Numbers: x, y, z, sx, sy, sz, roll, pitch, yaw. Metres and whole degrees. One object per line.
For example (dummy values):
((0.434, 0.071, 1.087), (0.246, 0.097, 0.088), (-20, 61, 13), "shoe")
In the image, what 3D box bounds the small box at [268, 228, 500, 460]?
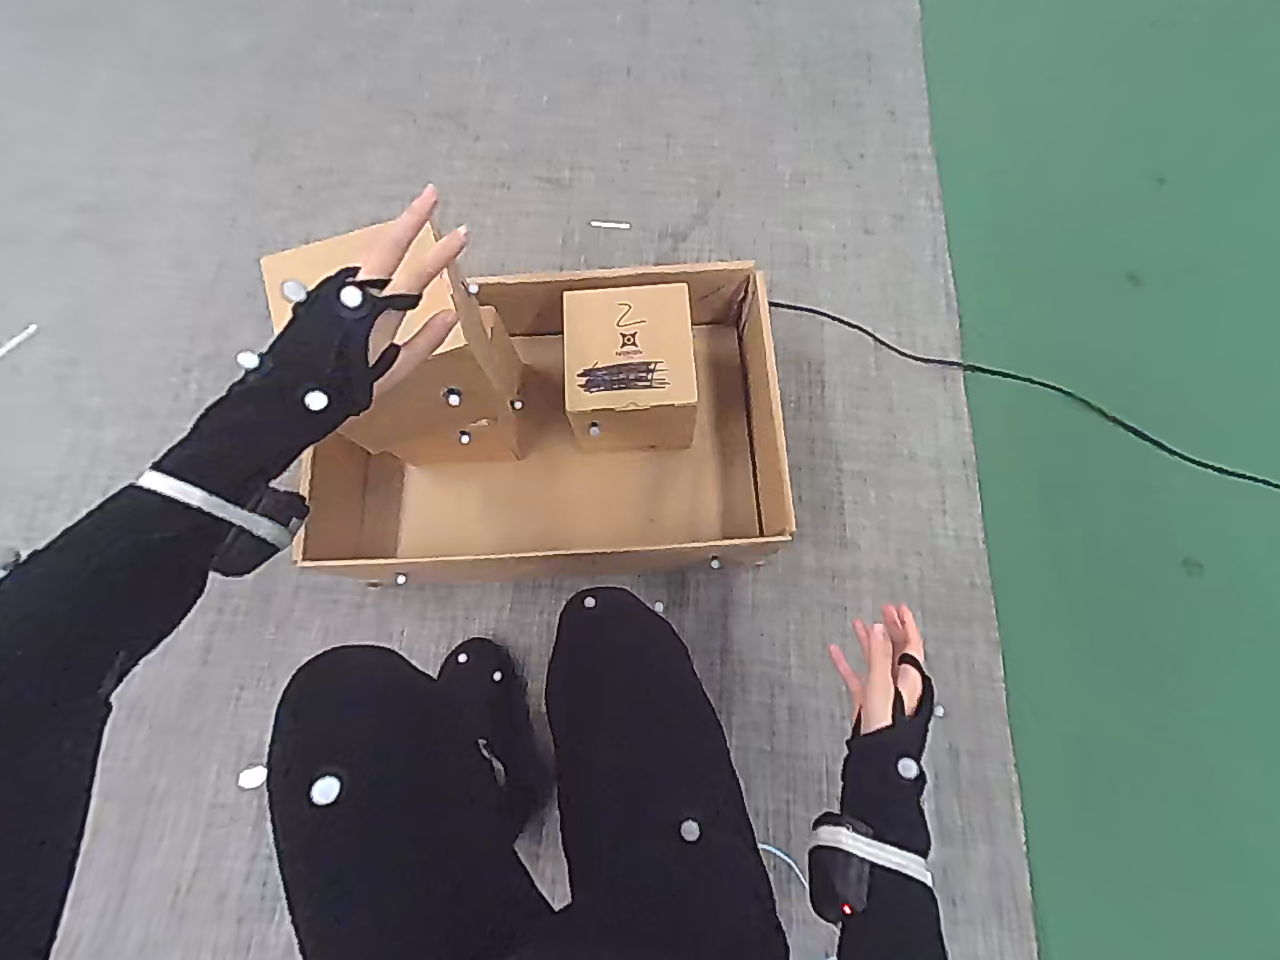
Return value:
((-0.270, -0.141, 0.610), (0.179, 0.176, 0.168), (-18, 75, -3), "small box")

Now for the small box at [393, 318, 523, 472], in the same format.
((-0.274, -0.112, 0.771), (0.179, 0.176, 0.168), (-2, 74, 0), "small box")
